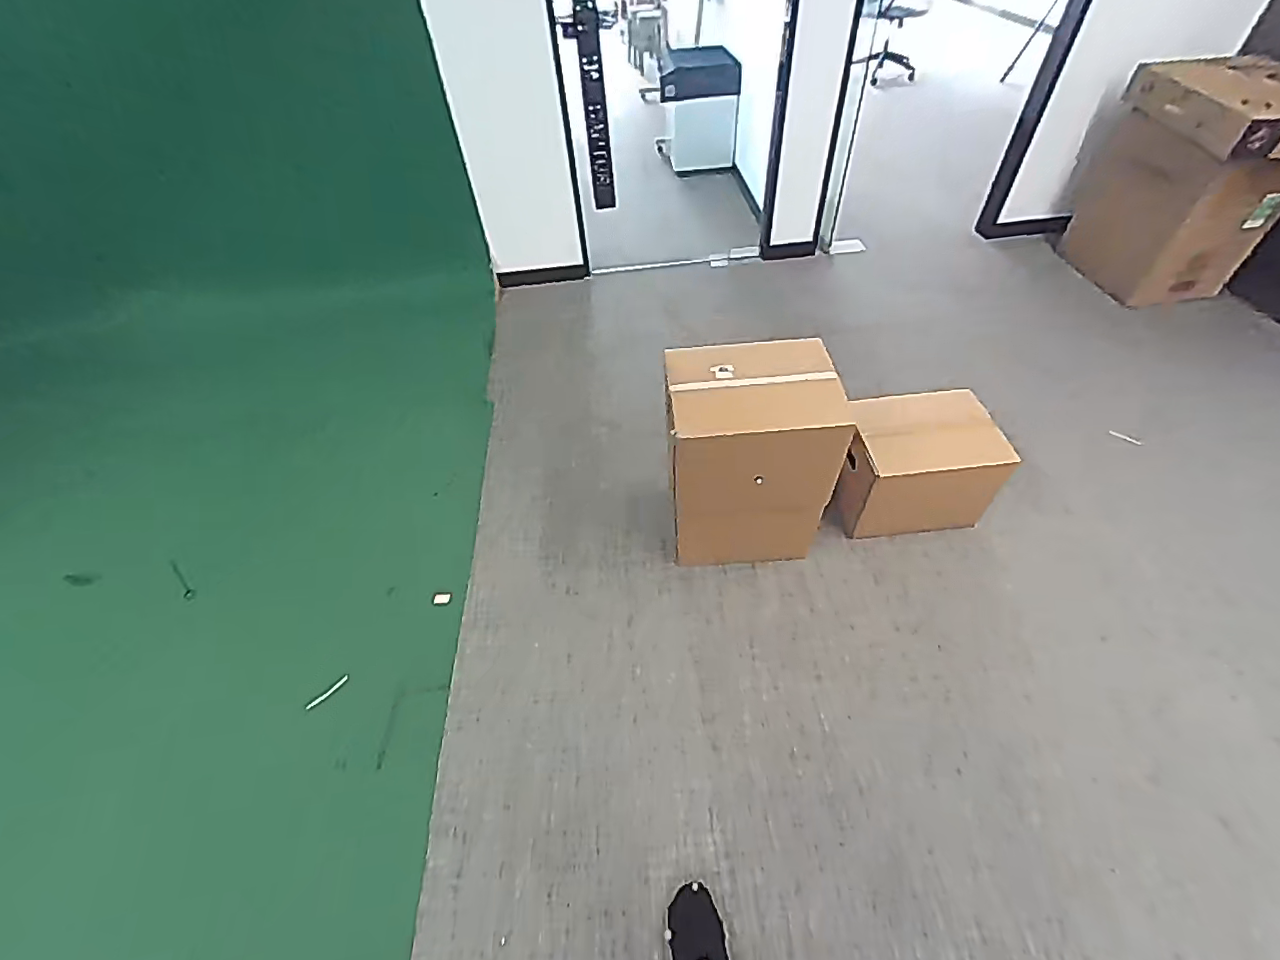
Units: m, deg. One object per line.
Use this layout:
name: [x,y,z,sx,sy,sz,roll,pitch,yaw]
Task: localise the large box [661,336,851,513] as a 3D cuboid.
large box: [0.272,-0.136,1.395,0.408,0.320,0.320,-5,52,2]
